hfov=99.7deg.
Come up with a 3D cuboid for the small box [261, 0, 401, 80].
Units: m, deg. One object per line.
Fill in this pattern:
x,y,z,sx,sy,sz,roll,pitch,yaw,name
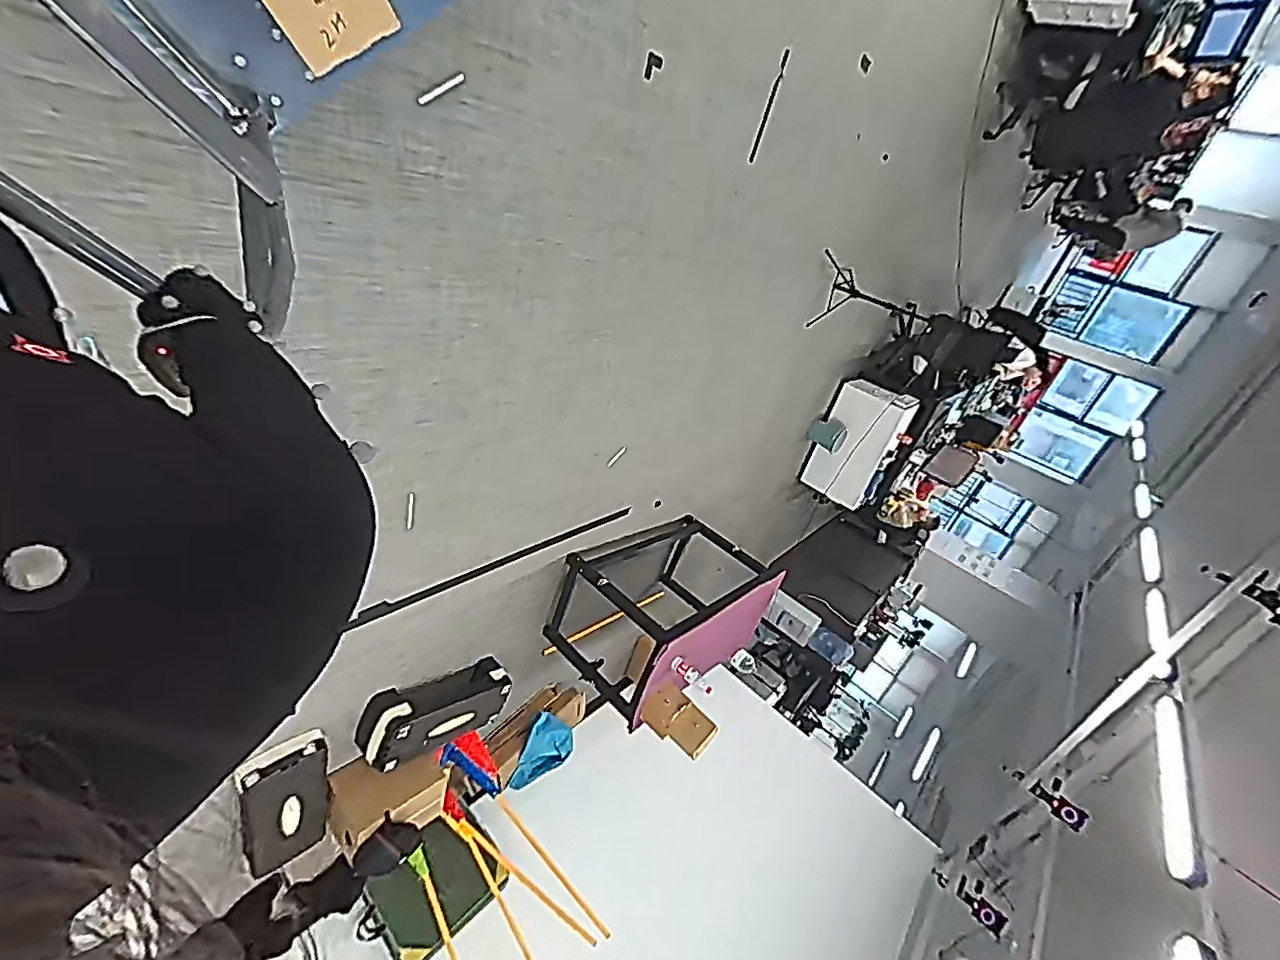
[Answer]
-0.519,-0.788,0.851,0.168,0.176,0.179,-32,149,-2,small box
